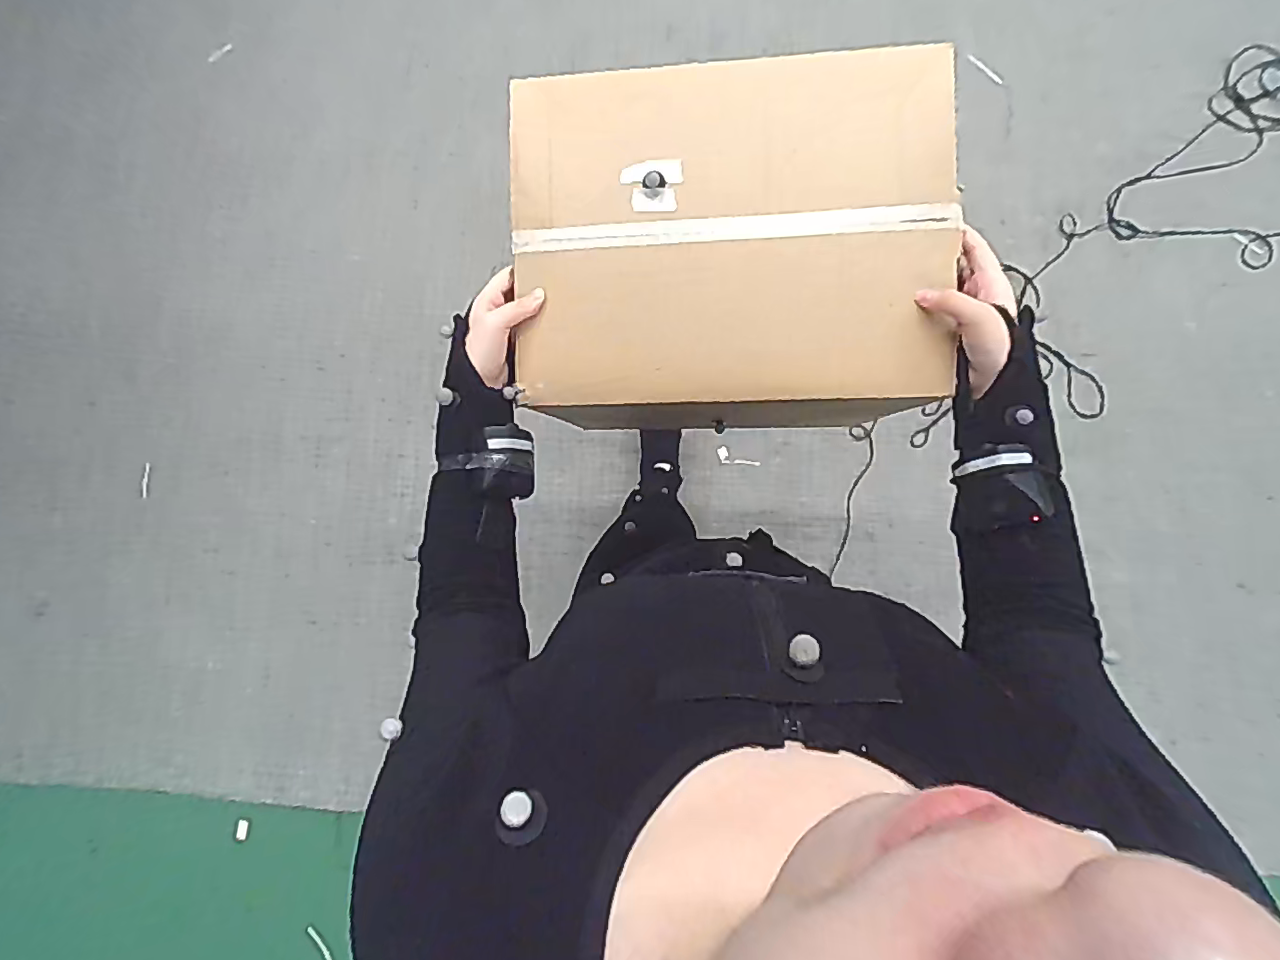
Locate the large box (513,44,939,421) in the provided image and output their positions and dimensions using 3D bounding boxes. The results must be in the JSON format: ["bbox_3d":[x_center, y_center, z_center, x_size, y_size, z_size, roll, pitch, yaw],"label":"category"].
[{"bbox_3d":[0.095,-0.240,0.662,0.408,0.320,0.320,-1,91,7],"label":"large box"}]
